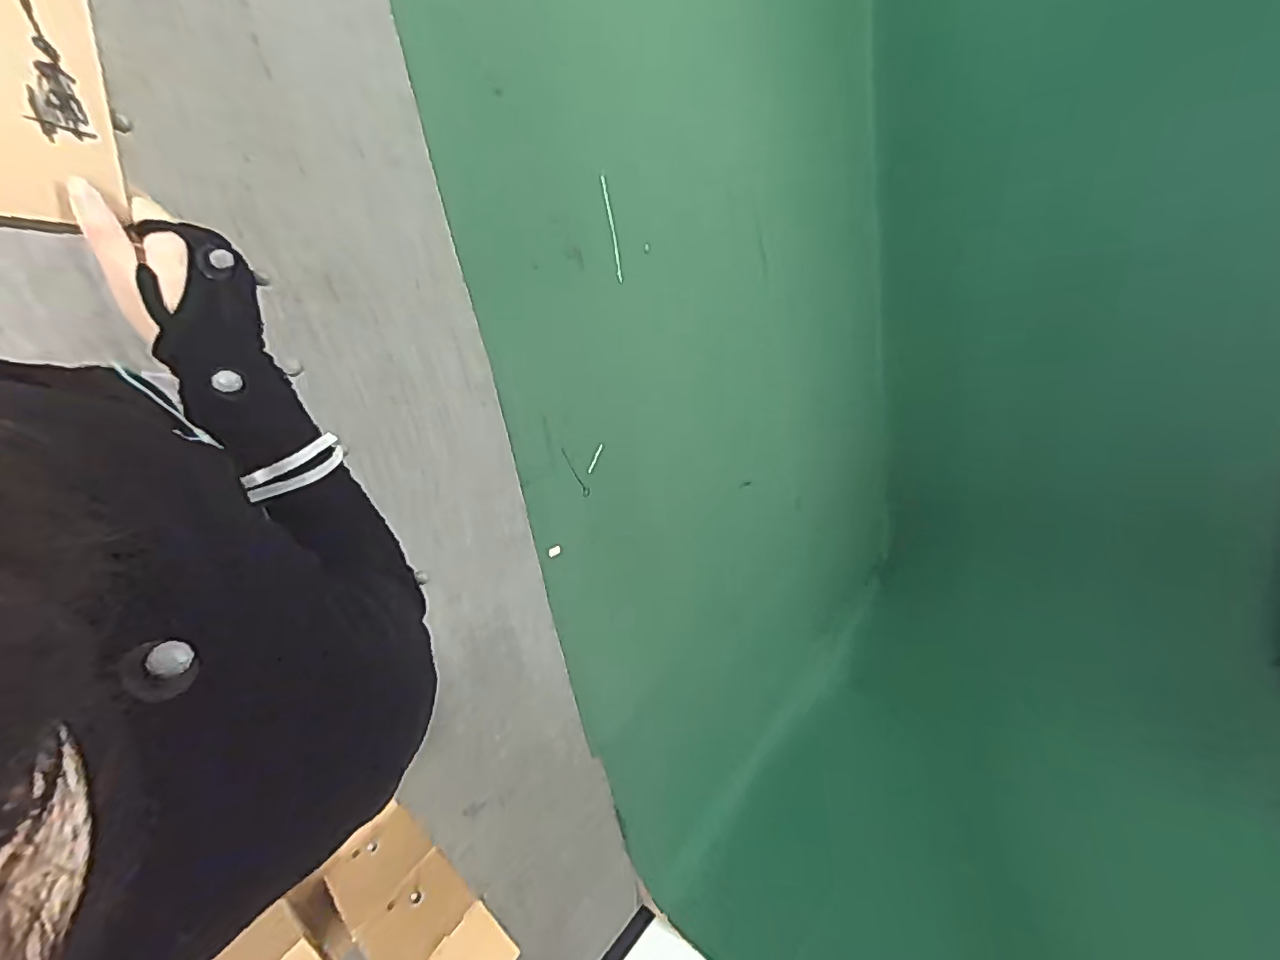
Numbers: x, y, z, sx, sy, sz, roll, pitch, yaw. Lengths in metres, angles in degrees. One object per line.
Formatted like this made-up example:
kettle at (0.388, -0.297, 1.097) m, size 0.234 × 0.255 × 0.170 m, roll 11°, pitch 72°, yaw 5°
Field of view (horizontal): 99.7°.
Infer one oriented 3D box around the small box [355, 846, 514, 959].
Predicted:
small box at (-0.359, 0.795, 0.947) m, size 0.168 × 0.176 × 0.179 m, roll -39°, pitch 120°, yaw -36°
